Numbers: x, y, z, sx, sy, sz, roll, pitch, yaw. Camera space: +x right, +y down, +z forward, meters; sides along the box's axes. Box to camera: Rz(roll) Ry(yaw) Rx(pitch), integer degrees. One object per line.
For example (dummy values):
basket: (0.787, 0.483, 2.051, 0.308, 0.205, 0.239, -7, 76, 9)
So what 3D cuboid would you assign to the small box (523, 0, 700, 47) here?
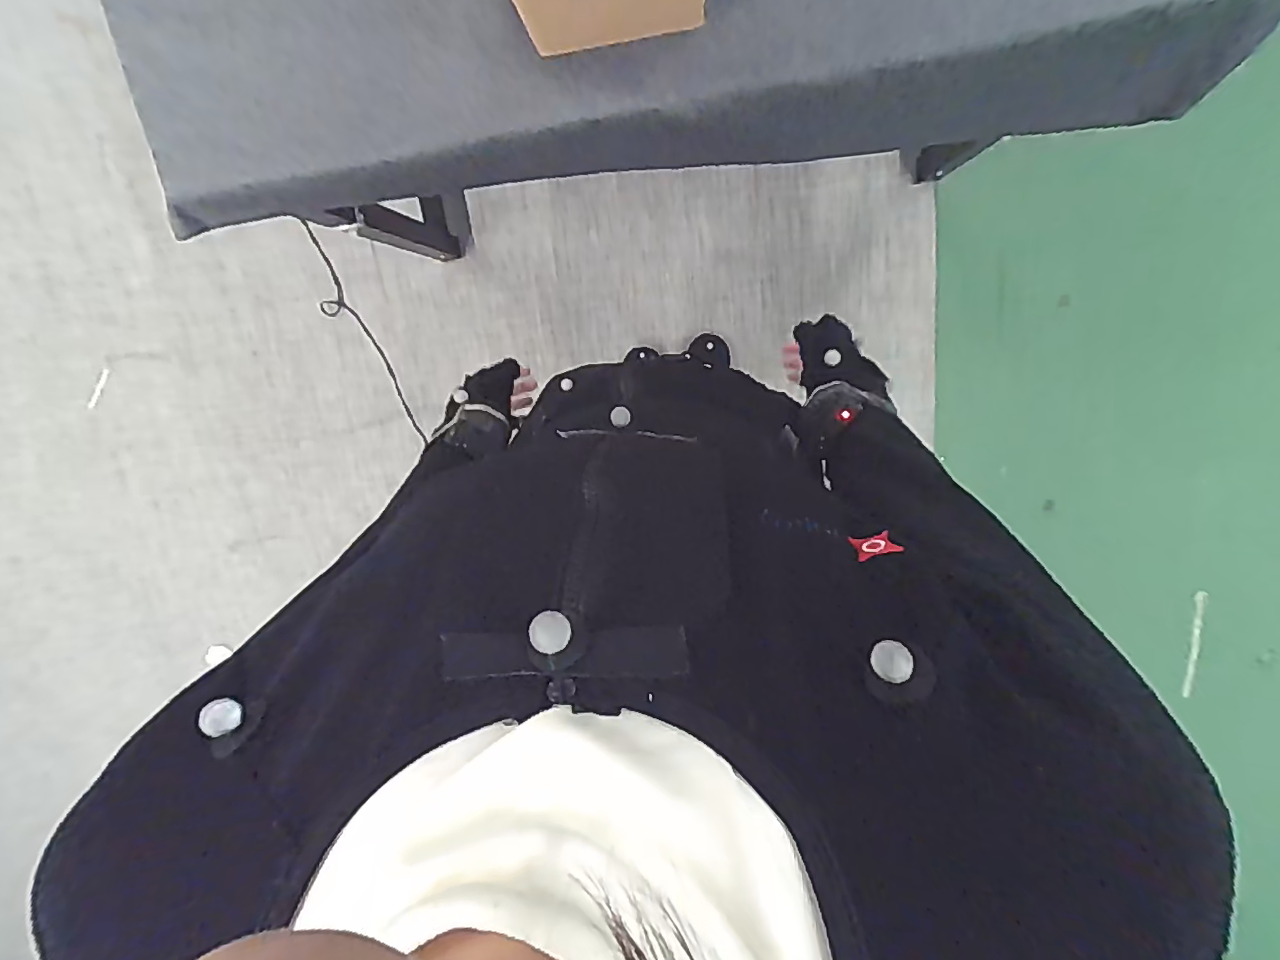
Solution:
small box: (-0.037, -0.533, 0.487, 0.179, 0.176, 0.168, -6, 105, 6)
